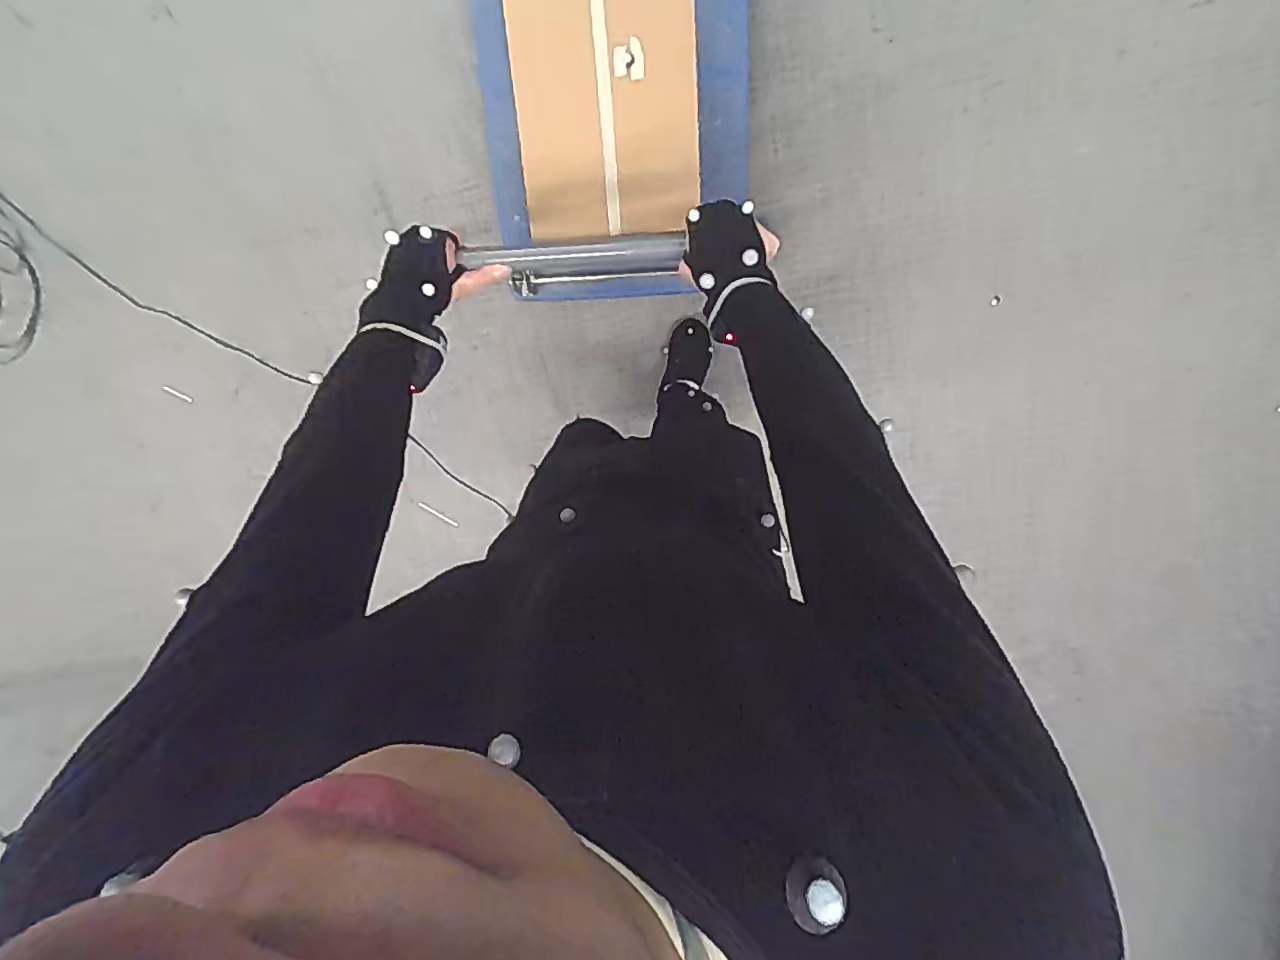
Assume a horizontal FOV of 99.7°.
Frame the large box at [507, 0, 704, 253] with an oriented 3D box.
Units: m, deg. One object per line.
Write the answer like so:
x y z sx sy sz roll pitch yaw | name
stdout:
-0.041 -0.683 1.061 0.320 0.320 0.408 -2 109 5 | large box
